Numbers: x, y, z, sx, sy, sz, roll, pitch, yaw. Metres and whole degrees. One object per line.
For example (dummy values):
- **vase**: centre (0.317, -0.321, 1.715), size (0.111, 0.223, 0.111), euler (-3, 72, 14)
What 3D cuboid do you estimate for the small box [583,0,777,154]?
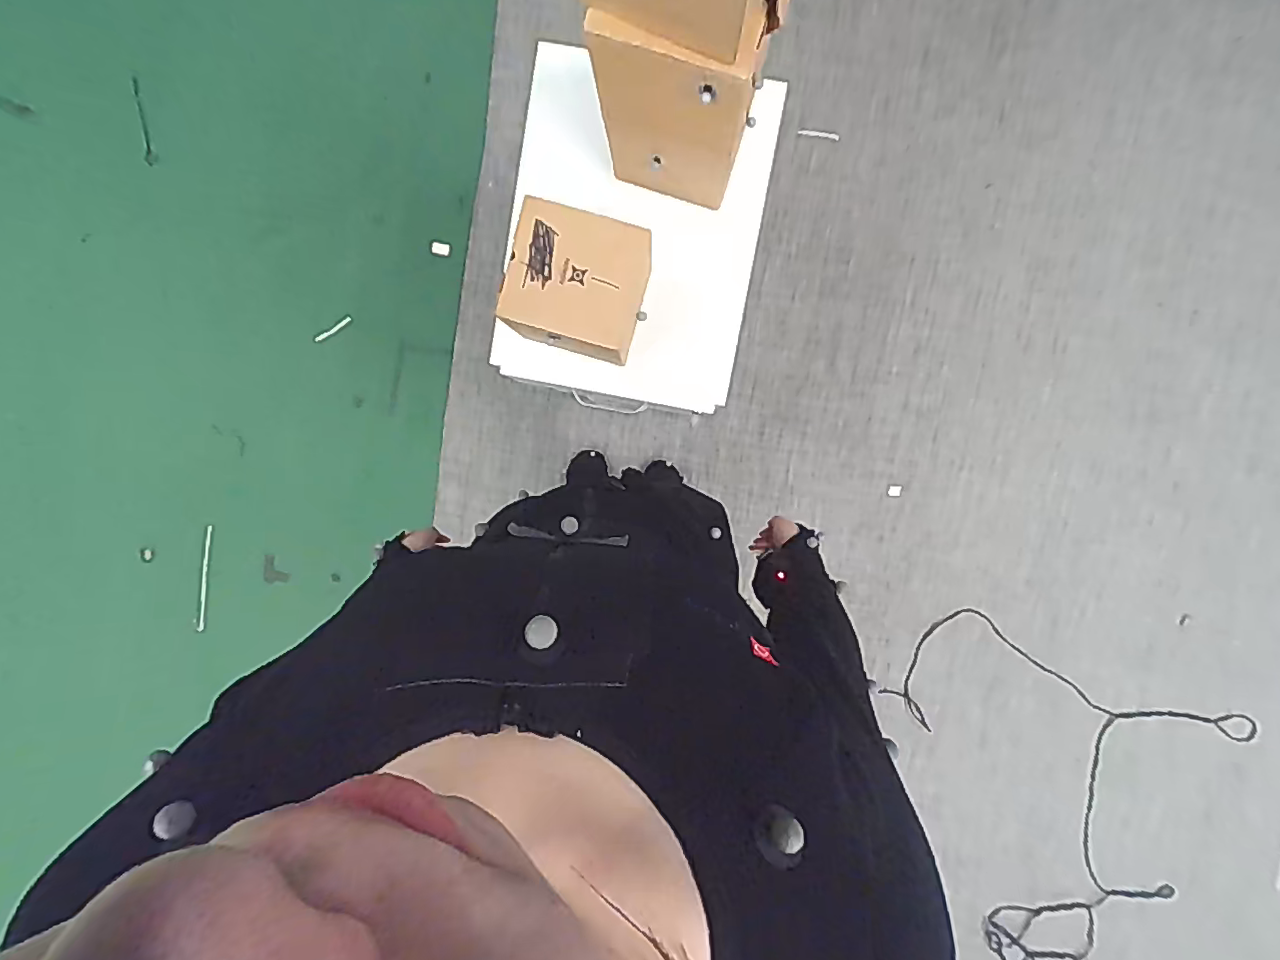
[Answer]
- **small box**: centre (0.051, -0.504, 0.607), size (0.179, 0.176, 0.168), euler (17, 96, 0)

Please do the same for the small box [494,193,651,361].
- **small box**: centre (-0.090, -0.282, 0.794), size (0.179, 0.176, 0.168), euler (16, 95, -1)

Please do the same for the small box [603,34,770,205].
- **small box**: centre (0.061, -0.522, 0.769), size (0.179, 0.176, 0.168), euler (18, 96, 1)
